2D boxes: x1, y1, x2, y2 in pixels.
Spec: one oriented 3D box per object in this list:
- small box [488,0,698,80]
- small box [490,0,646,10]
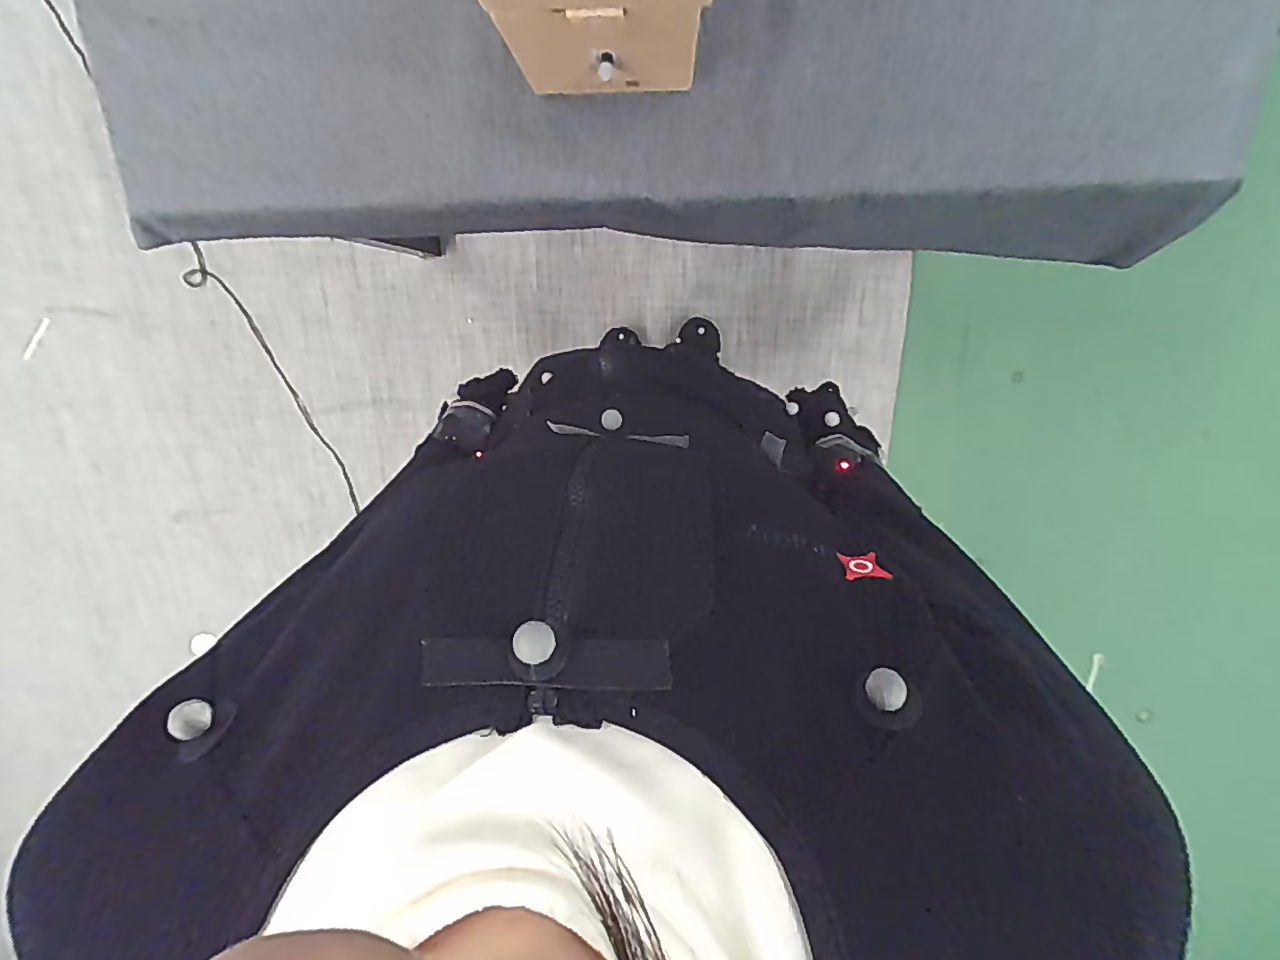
[{"bbox_3d":[-0.031,-0.469,0.462,0.168,0.176,0.179,0,108,3],"label":"small box"},{"bbox_3d":[-0.035,-0.411,0.307,0.179,0.176,0.168,-2,107,3],"label":"small box"}]
